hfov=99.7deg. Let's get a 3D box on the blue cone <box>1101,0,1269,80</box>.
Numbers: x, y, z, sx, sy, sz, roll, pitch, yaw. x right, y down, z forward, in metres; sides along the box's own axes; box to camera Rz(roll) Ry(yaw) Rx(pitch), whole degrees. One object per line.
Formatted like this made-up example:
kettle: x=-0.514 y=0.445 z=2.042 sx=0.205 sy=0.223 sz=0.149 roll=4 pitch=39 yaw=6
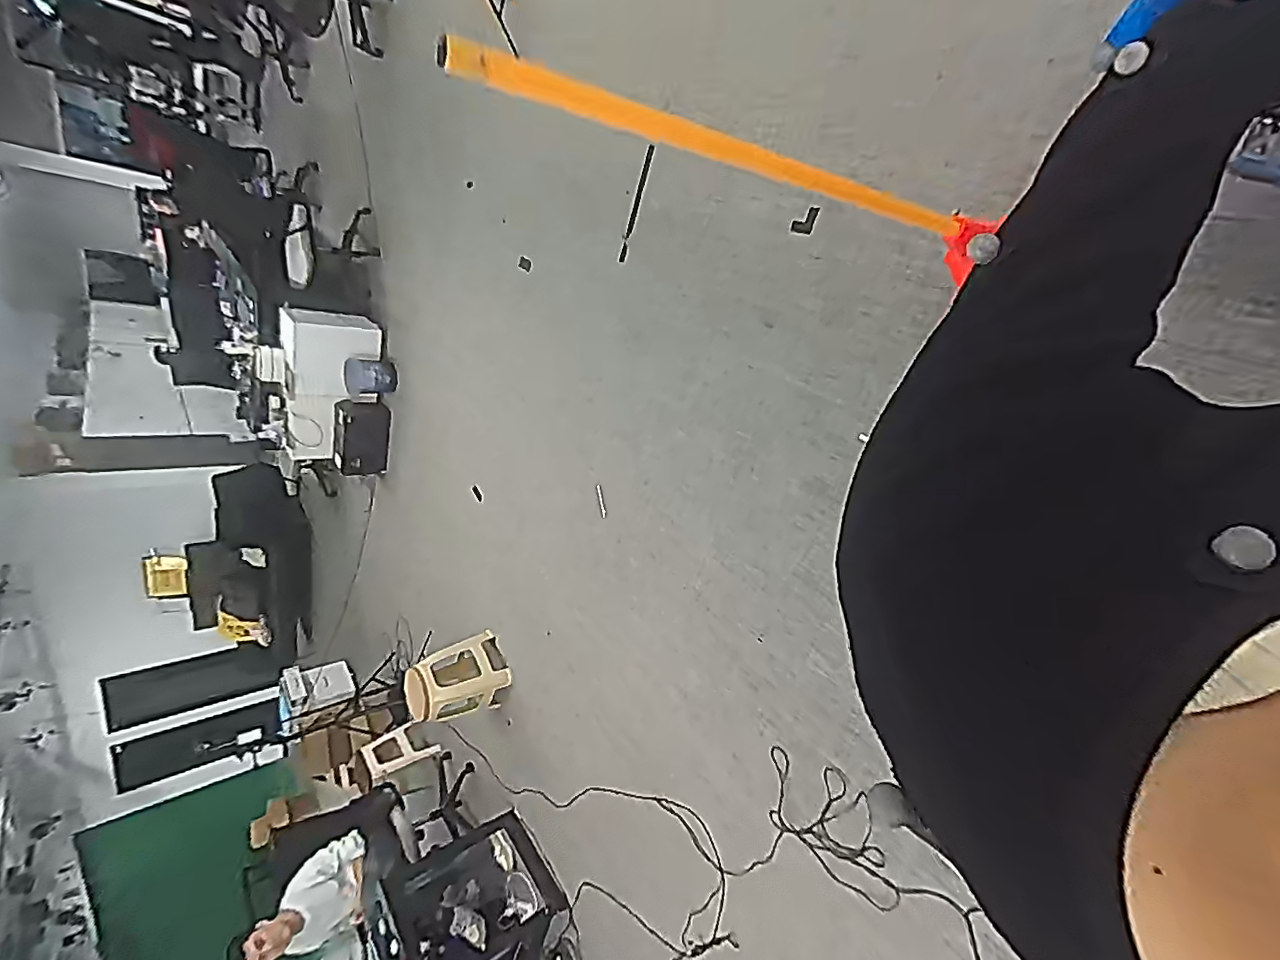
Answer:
blue cone: x=0.820 y=-0.789 z=0.807 sx=0.193 sy=0.380 sz=0.192 roll=52 pitch=130 yaw=30
